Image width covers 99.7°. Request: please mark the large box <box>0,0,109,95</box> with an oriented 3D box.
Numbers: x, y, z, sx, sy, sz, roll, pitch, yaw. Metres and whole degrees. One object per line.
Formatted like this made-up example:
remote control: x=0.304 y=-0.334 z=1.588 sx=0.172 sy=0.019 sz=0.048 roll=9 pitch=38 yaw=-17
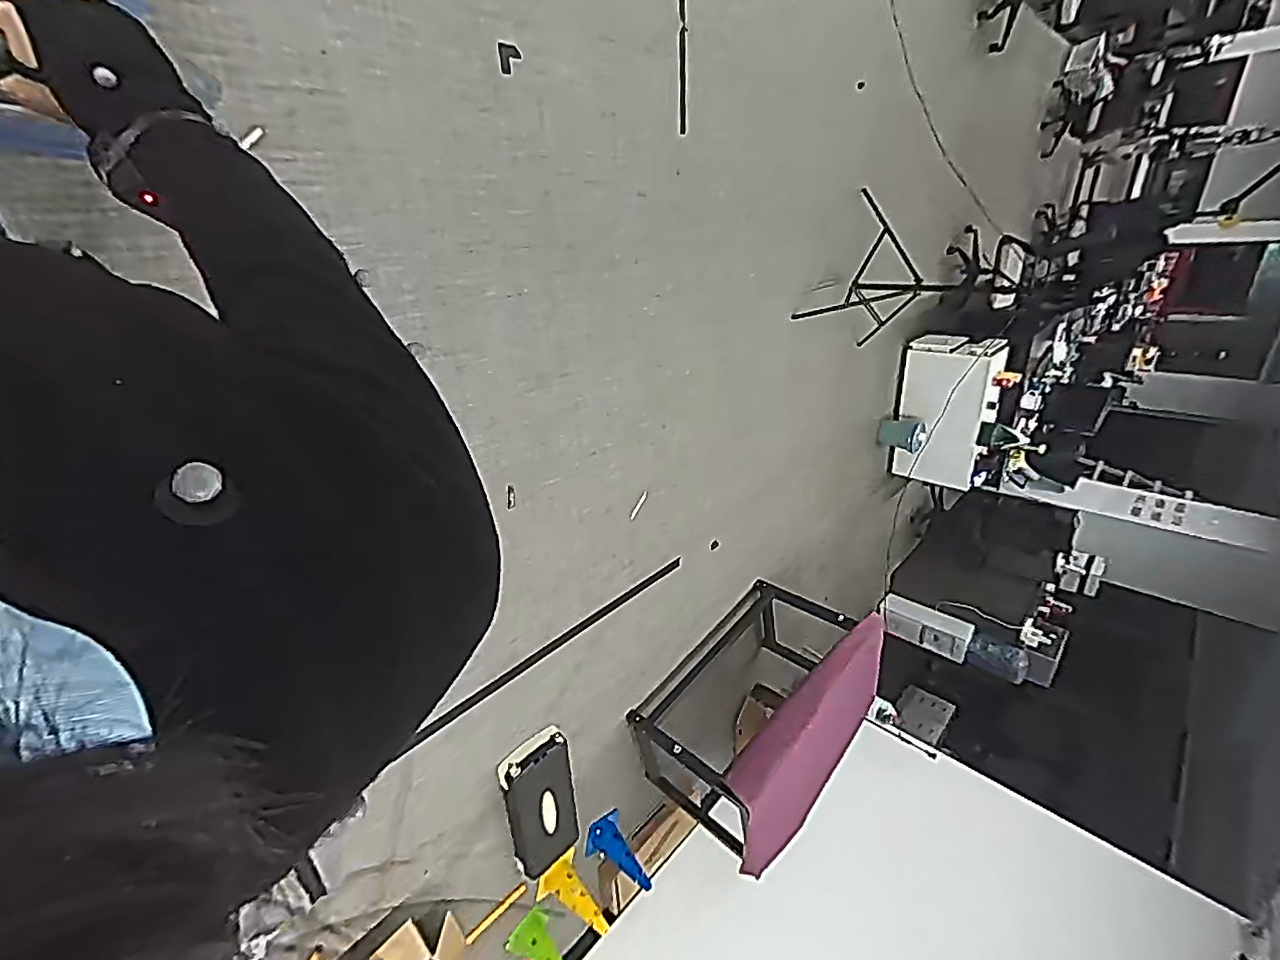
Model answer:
large box: x=-0.913 y=-0.669 z=0.591 sx=0.408 sy=0.320 sz=0.320 roll=-20 pitch=120 yaw=-42
